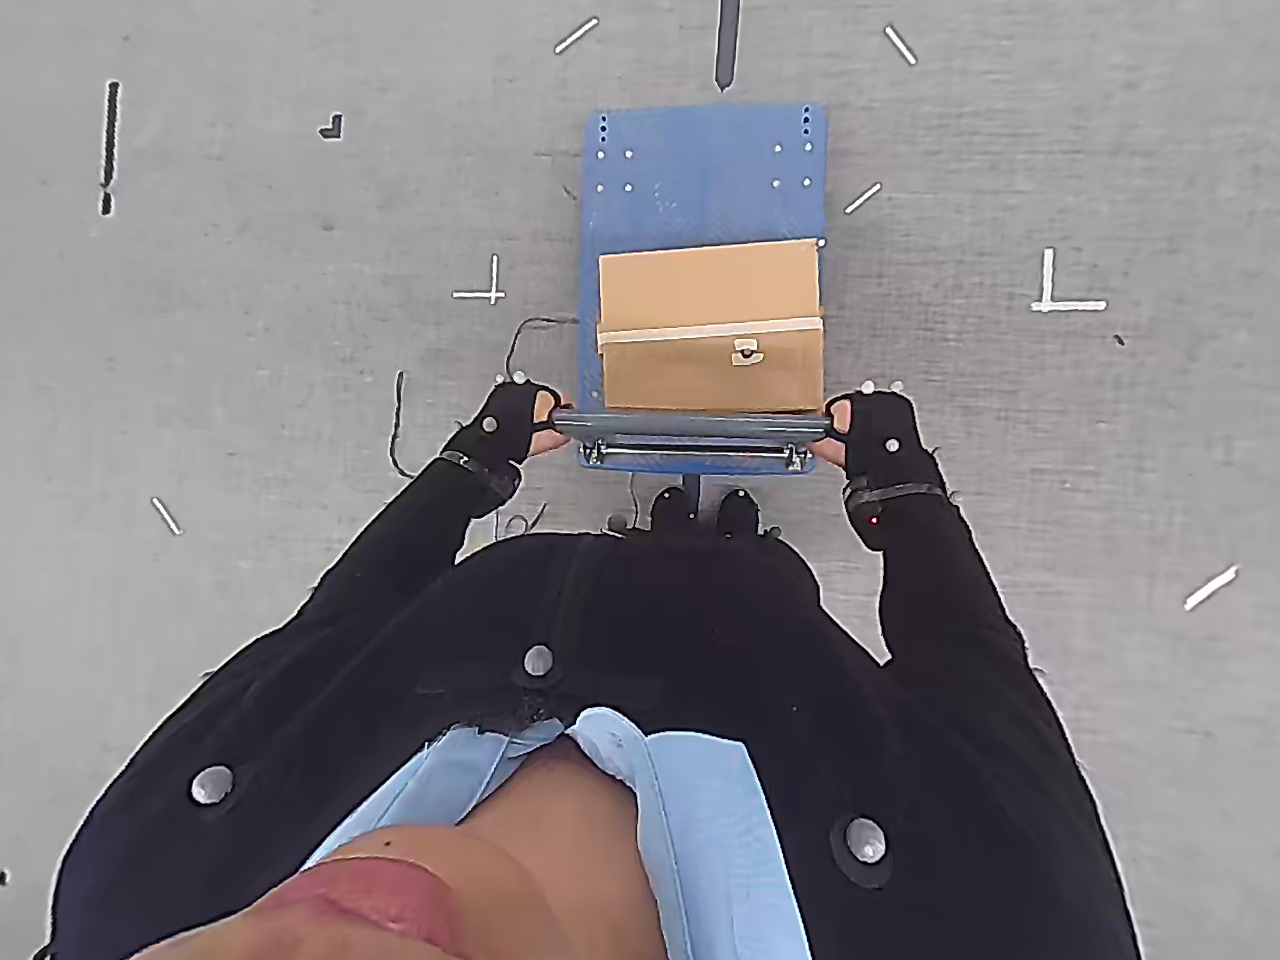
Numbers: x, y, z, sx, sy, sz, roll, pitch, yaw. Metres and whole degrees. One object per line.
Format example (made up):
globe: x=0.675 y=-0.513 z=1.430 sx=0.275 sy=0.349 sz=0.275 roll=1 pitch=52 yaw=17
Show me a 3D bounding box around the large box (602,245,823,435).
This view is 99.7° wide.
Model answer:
large box: x=0.143 y=-0.271 z=1.160 sx=0.408 sy=0.320 sz=0.320 roll=-3 pitch=91 yaw=4
